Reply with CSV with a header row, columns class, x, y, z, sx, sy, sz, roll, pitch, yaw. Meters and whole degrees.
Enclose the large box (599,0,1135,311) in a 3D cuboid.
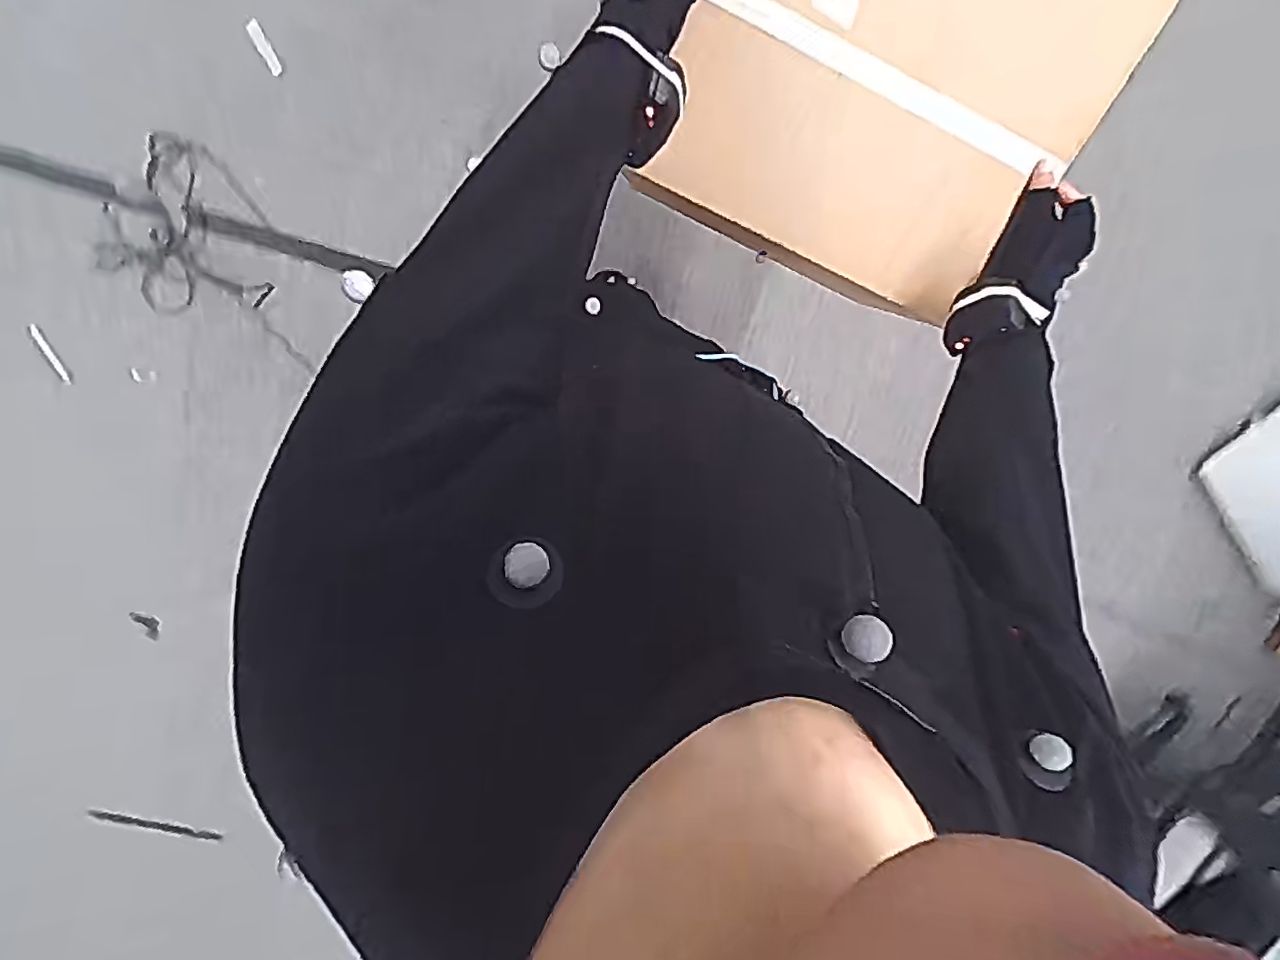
class,x,y,z,sx,sy,sz,roll,pitch,yaw
large box,0.208,-0.435,0.637,0.408,0.320,0.320,23,112,-5
